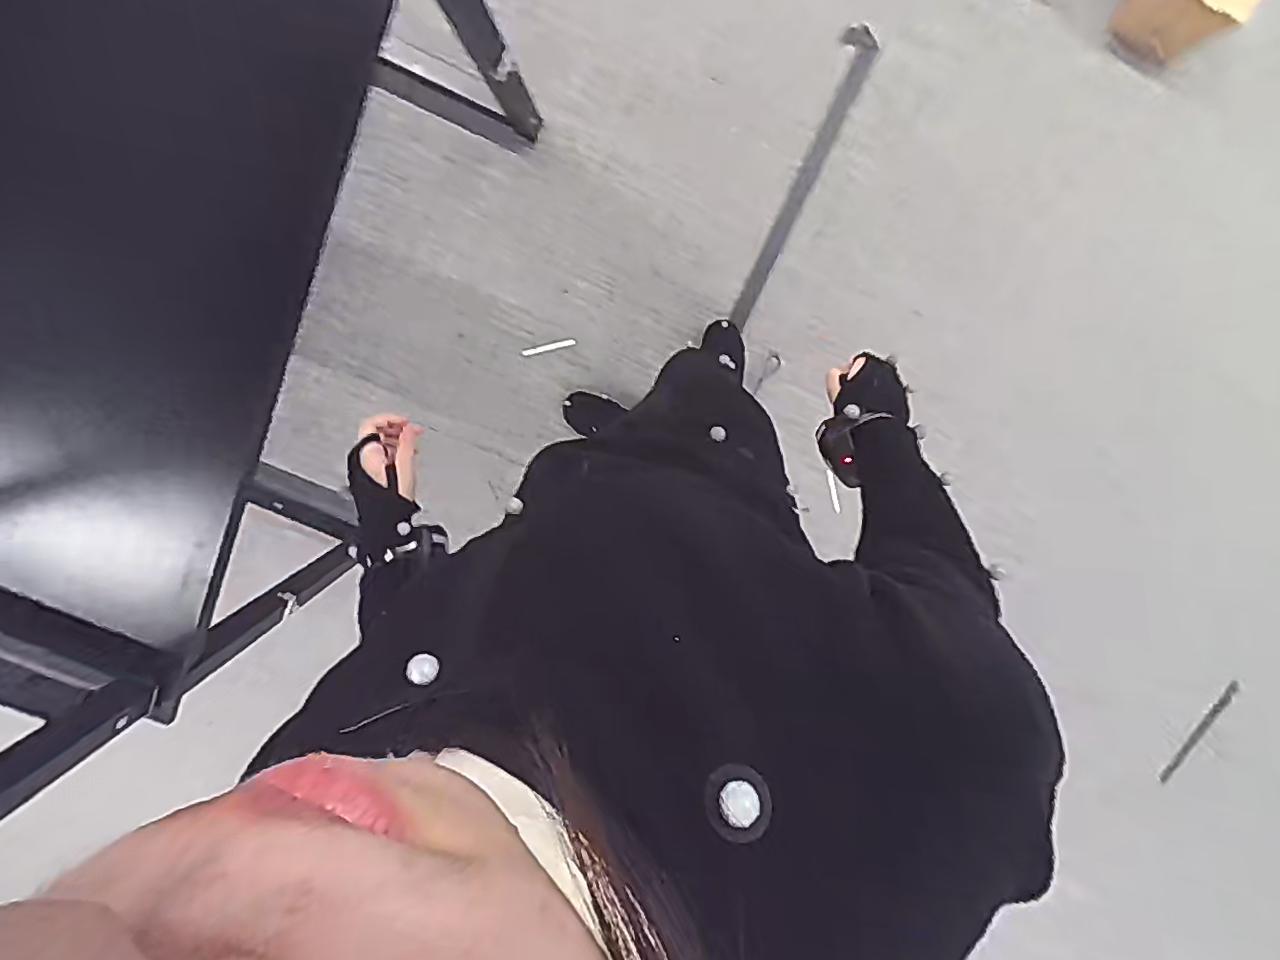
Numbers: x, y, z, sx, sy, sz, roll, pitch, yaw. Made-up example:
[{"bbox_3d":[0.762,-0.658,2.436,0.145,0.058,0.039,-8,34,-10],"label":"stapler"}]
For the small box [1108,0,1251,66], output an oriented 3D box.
[{"bbox_3d":[1.162,-1.040,1.143,0.168,0.176,0.179,26,102,-6],"label":"small box"}]
